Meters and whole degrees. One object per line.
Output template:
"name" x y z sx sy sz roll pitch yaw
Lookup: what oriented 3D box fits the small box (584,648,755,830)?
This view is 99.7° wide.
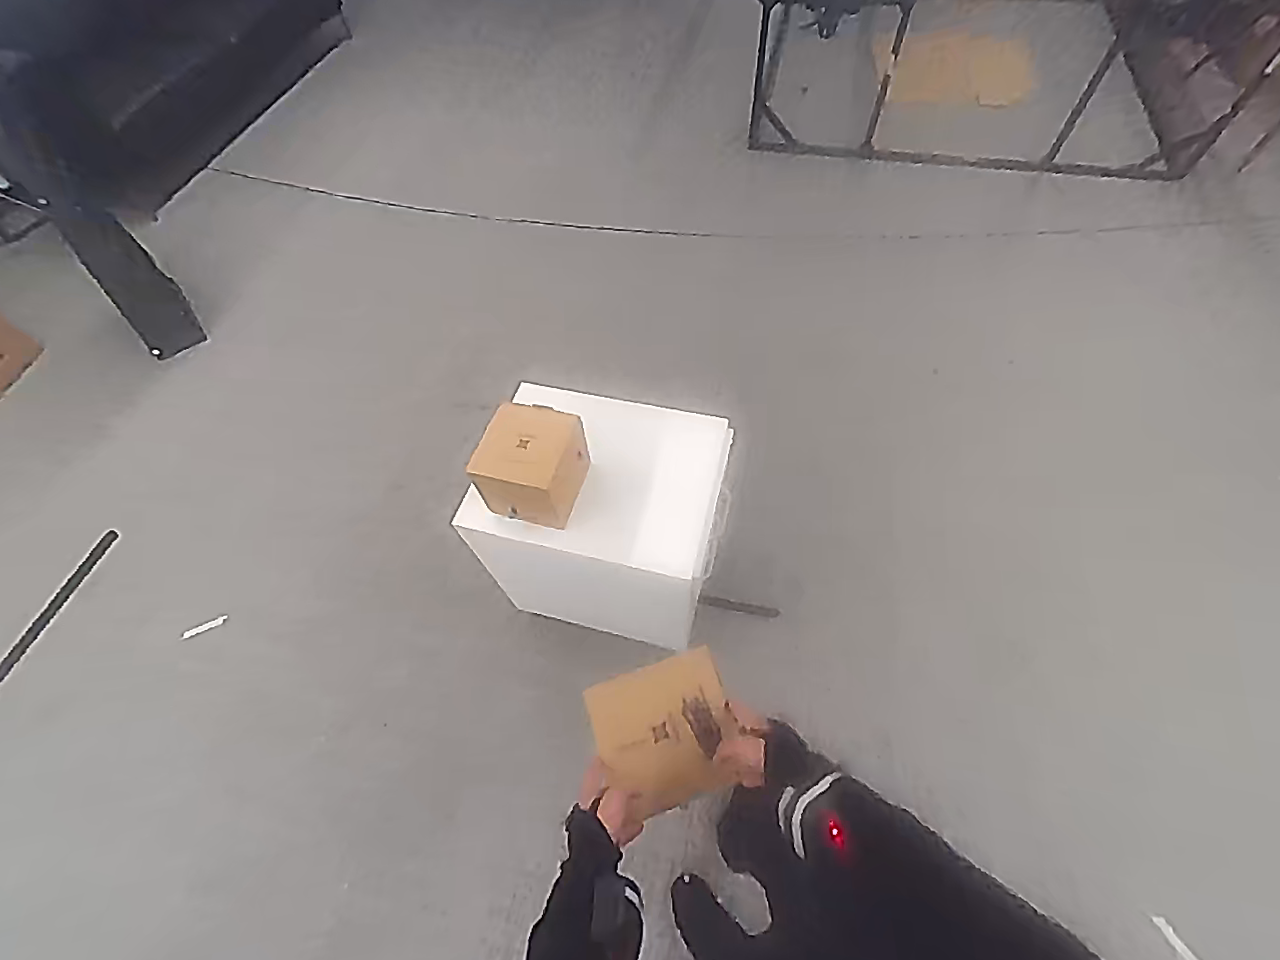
"small box" 0.034 0.348 0.748 0.179 0.176 0.168 -19 67 -7

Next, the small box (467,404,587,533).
"small box" -0.212 -0.021 1.076 0.168 0.176 0.179 12 60 11
